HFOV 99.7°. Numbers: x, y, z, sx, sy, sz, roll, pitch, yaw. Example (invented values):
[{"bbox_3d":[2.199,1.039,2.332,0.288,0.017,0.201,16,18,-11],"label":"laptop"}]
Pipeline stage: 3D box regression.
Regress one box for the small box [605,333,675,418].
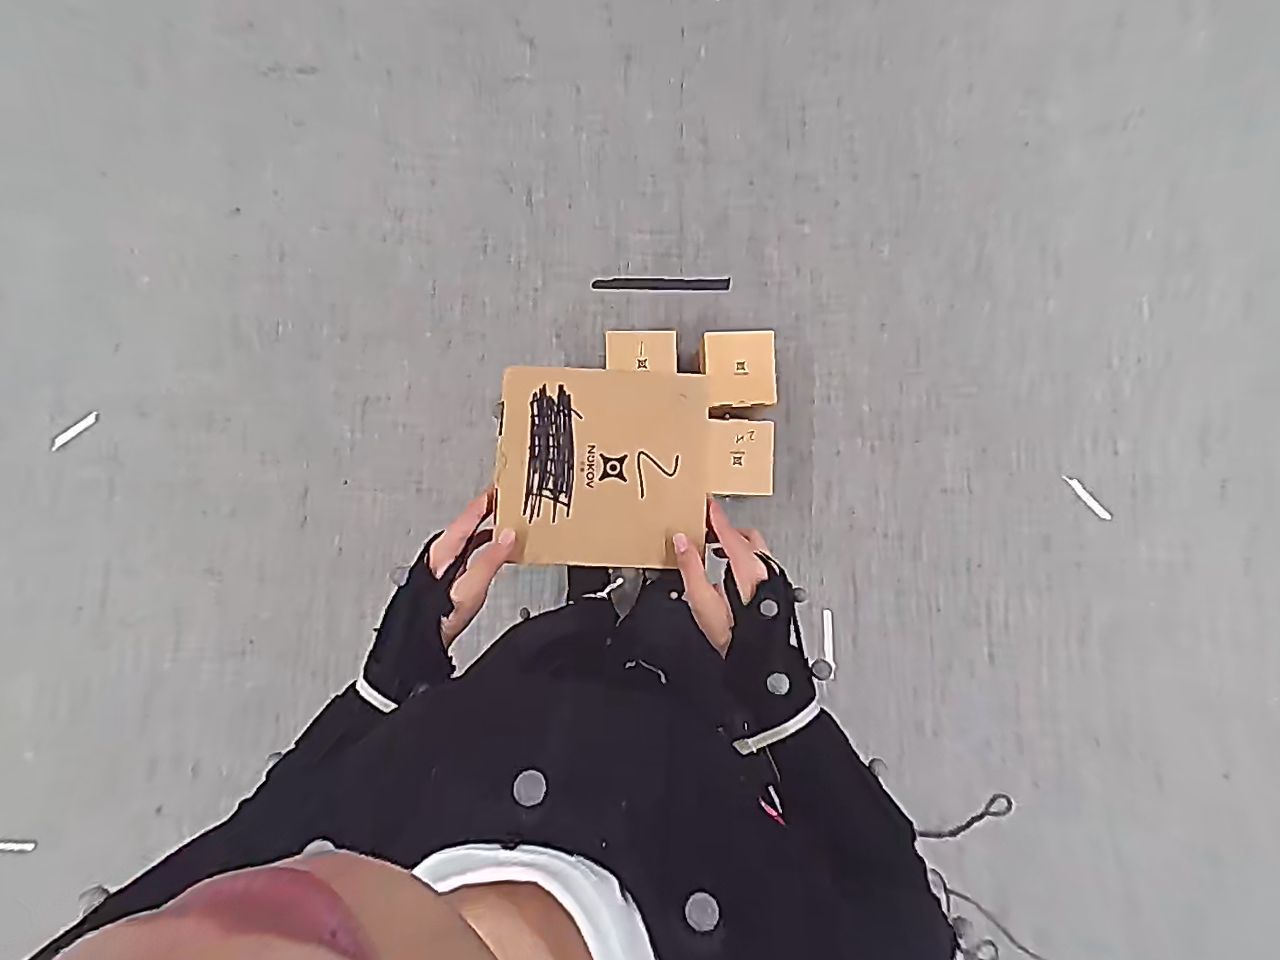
[{"bbox_3d":[0.000,-0.249,1.329,0.168,0.176,0.179,-1,86,-2],"label":"small box"}]
